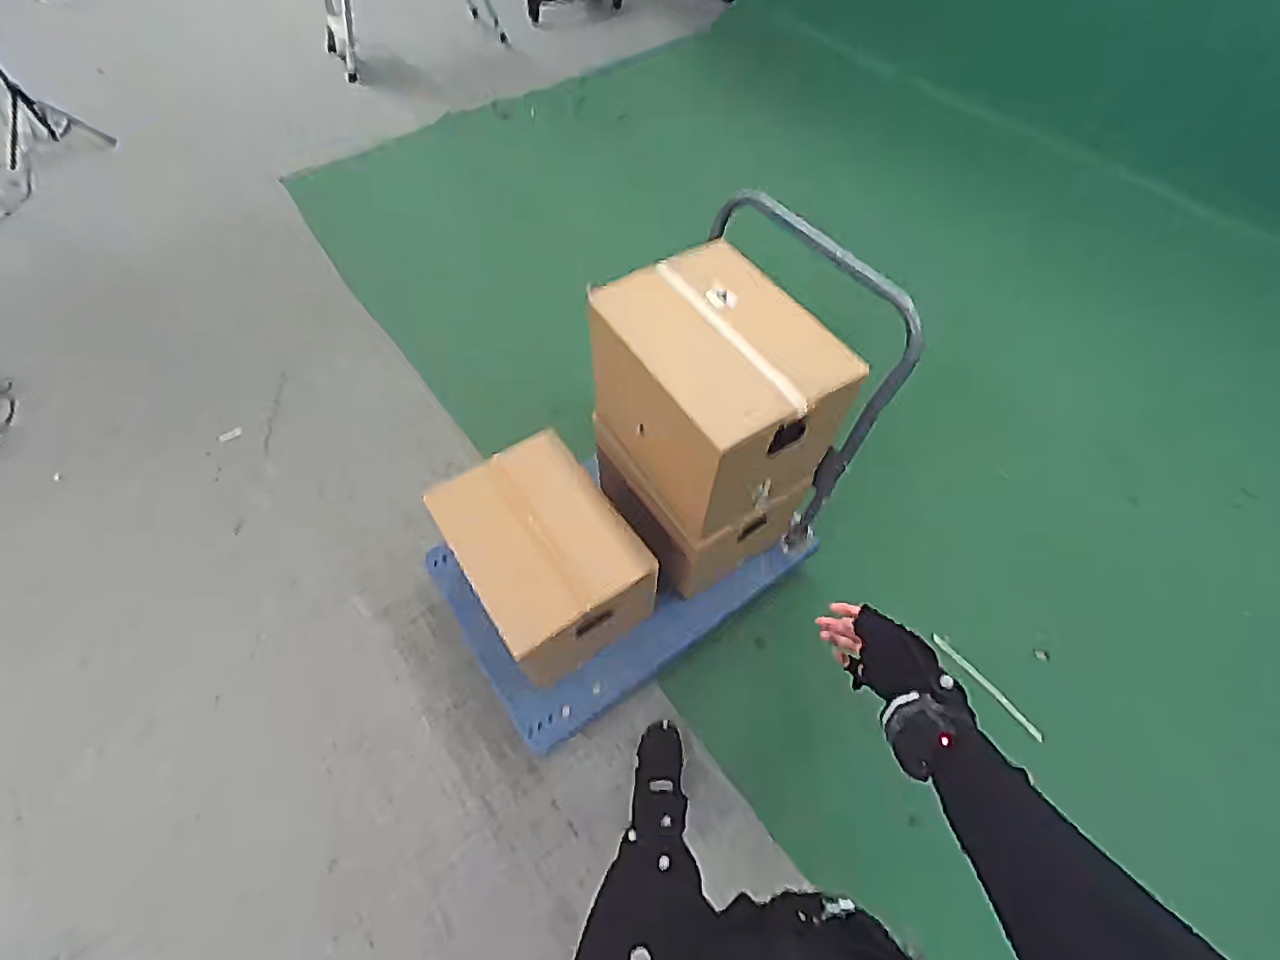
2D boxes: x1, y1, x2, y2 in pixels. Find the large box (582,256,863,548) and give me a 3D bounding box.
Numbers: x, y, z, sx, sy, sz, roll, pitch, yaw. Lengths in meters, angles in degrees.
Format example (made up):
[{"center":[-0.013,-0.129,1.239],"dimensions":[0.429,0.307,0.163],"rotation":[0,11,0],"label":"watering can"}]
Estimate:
[{"center":[0.132,-0.151,1.042],"dimensions":[0.320,0.320,0.408],"rotation":[-27,61,-18],"label":"large box"}]
